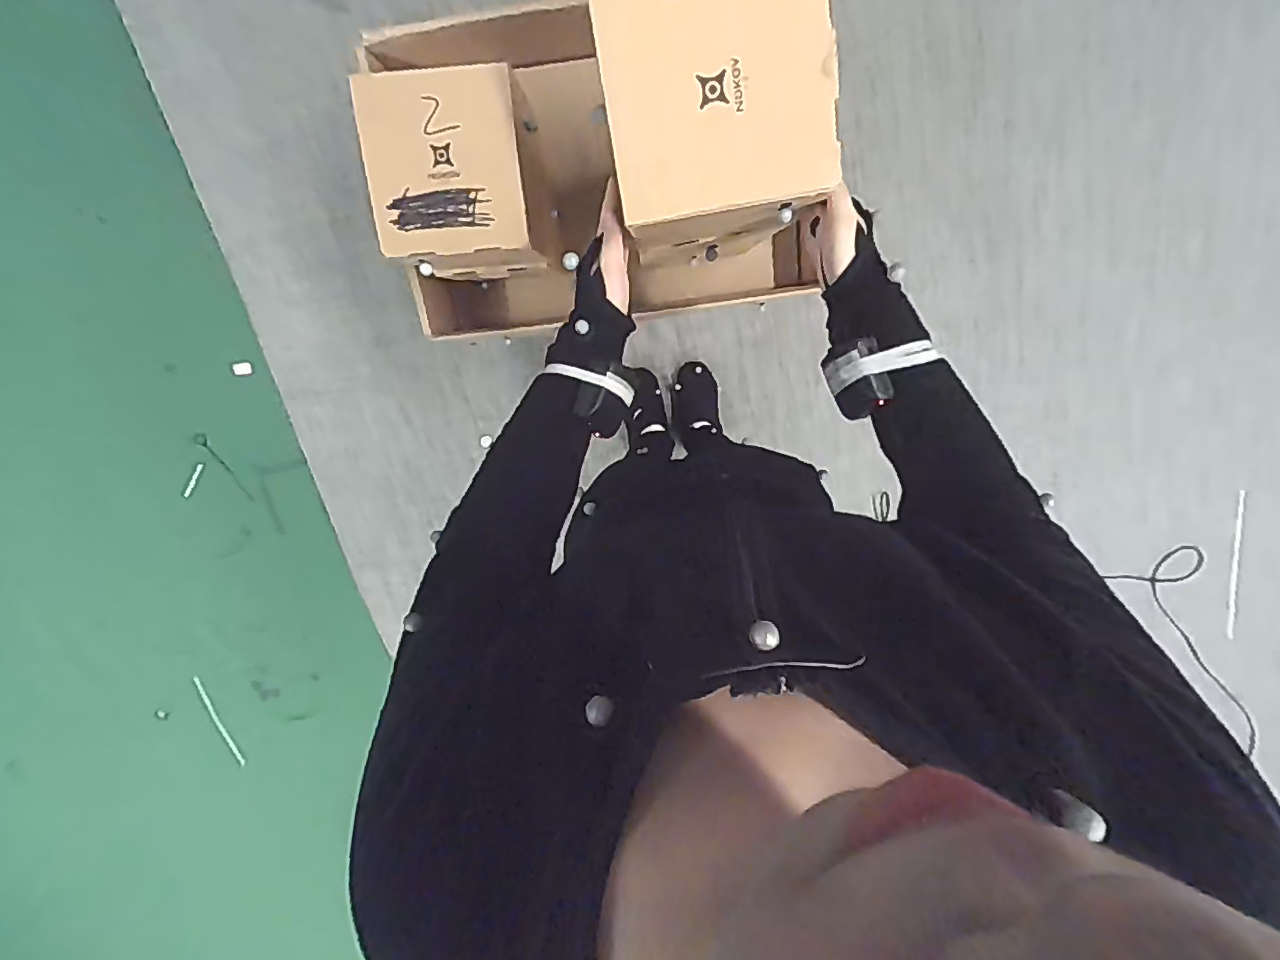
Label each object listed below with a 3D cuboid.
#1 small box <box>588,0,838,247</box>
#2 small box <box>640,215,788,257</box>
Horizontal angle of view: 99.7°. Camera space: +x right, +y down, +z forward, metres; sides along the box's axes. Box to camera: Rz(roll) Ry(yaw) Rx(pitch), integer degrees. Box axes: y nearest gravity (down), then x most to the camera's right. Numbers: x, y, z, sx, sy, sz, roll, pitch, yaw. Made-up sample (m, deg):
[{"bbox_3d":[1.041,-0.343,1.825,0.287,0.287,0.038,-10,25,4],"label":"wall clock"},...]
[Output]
[{"bbox_3d":[0.061,-0.318,0.486,0.179,0.176,0.168,-9,107,4],"label":"small box"},{"bbox_3d":[0.070,-0.370,0.641,0.168,0.176,0.179,-9,108,4],"label":"small box"}]
